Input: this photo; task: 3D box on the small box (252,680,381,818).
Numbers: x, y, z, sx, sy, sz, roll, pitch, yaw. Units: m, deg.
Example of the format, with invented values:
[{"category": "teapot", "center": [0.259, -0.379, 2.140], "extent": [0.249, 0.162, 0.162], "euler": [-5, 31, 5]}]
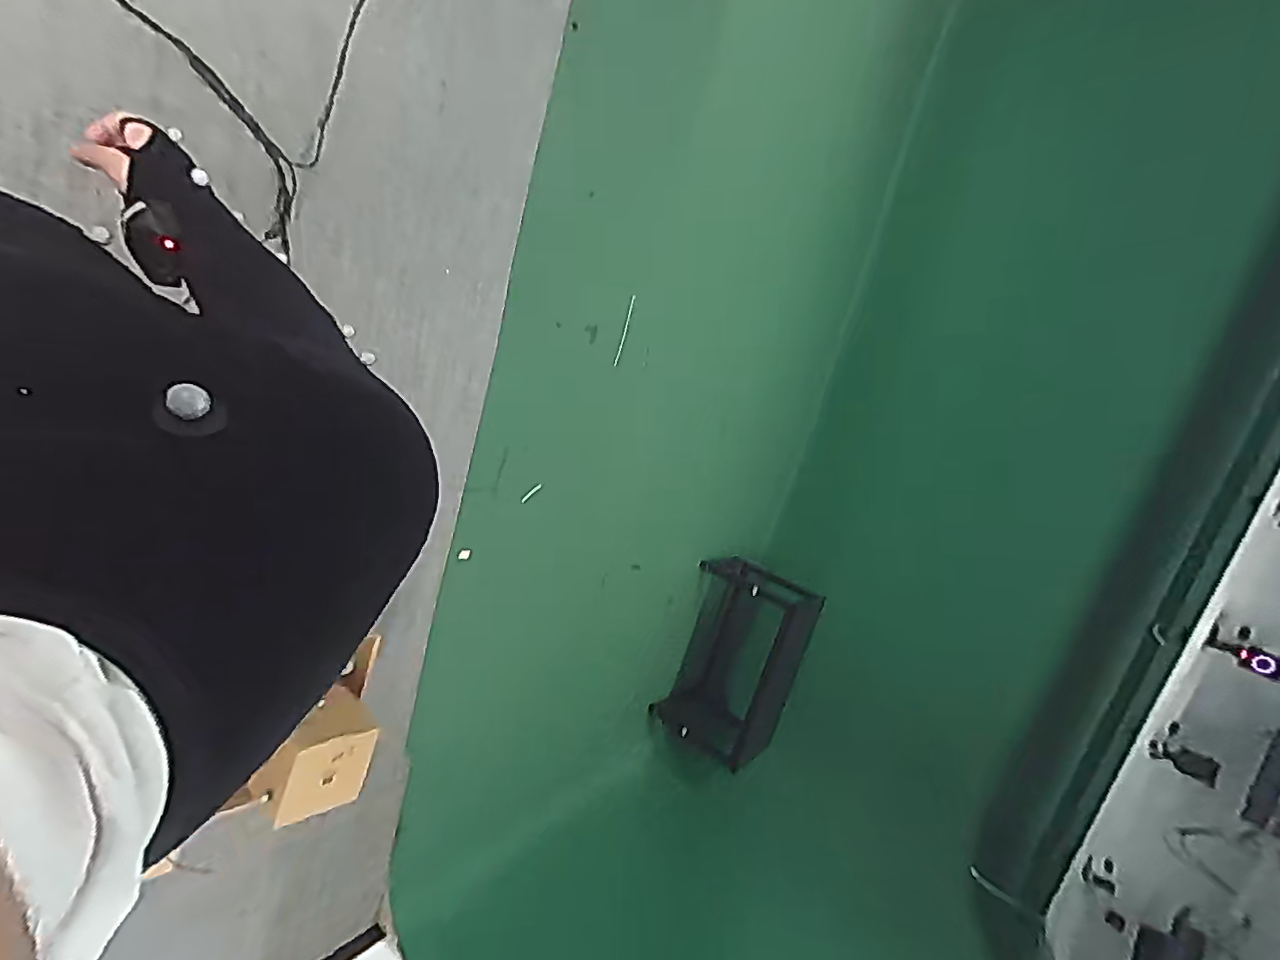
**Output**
[{"category": "small box", "center": [-0.685, 0.555, 1.140], "extent": [0.168, 0.176, 0.179], "euler": [12, 100, -55]}]

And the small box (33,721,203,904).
[{"category": "small box", "center": [-0.865, 0.526, 0.895], "extent": [0.168, 0.176, 0.179], "euler": [11, 100, -53]}]
